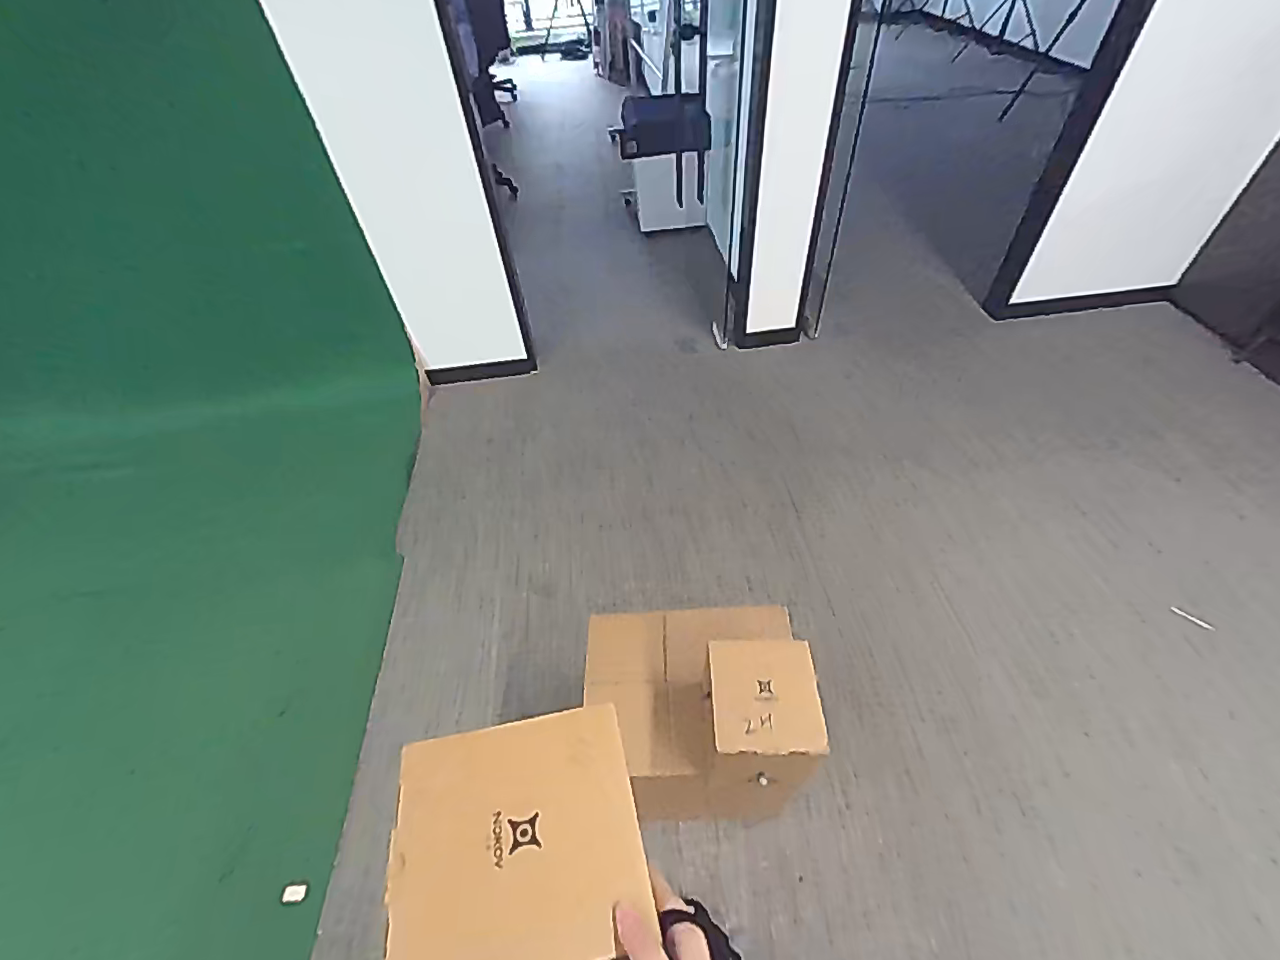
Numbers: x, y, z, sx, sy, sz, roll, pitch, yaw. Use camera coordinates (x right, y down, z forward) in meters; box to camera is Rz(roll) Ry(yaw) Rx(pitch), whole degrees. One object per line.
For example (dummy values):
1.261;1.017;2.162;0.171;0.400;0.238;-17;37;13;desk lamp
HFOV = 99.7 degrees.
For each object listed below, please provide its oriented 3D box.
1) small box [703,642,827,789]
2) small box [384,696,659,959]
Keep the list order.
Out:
0.193;0.387;0.890;0.168;0.176;0.179;-1;47;3;small box
-0.090;0.310;0.448;0.179;0.176;0.168;-8;41;-10;small box
